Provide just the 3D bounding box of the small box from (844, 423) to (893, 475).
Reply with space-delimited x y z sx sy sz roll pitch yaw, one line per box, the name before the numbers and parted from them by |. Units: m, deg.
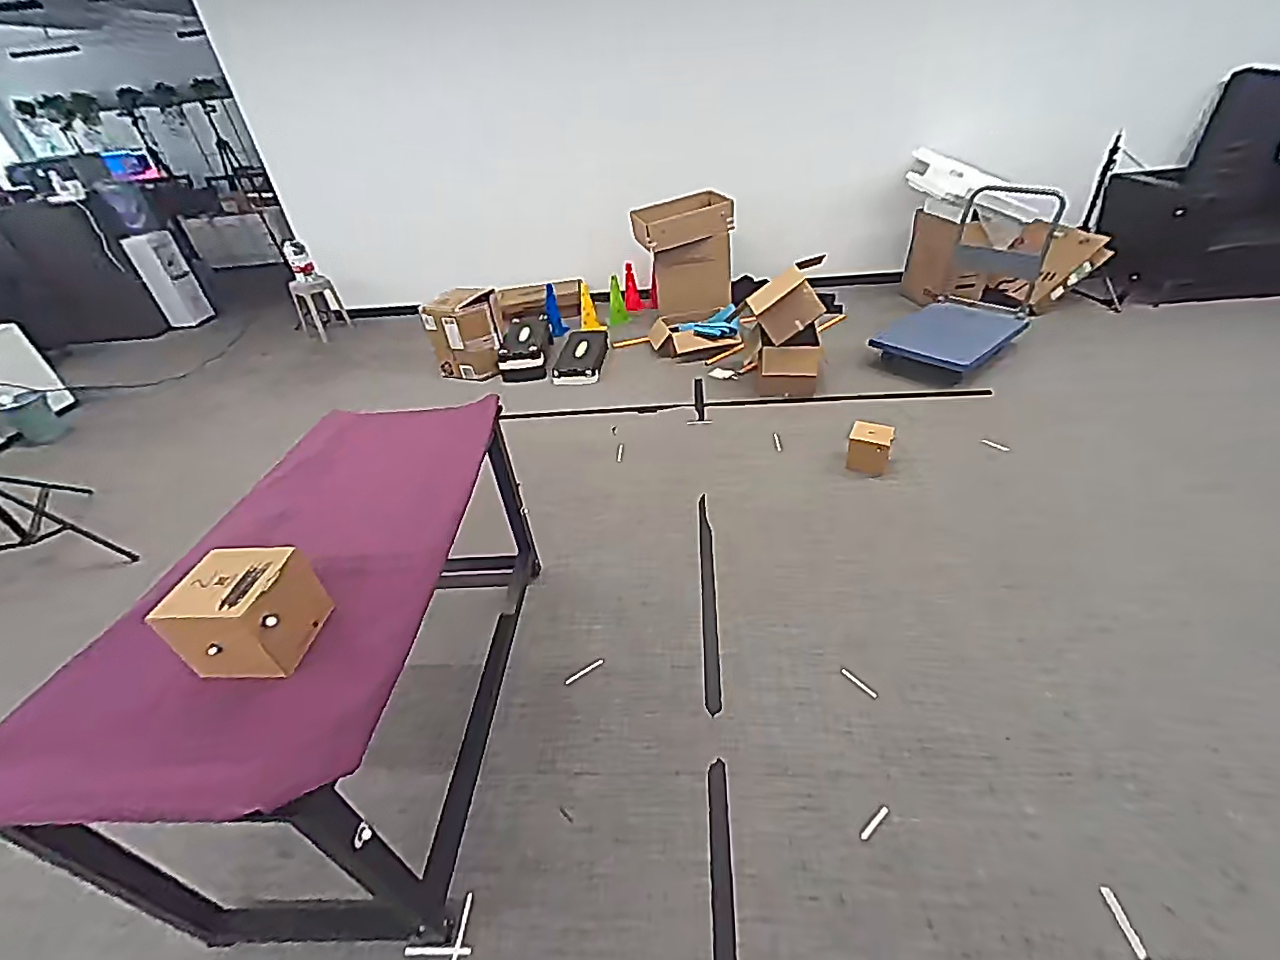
small box | 1.057 -0.142 2.509 0.179 0.176 0.168 14 40 24
